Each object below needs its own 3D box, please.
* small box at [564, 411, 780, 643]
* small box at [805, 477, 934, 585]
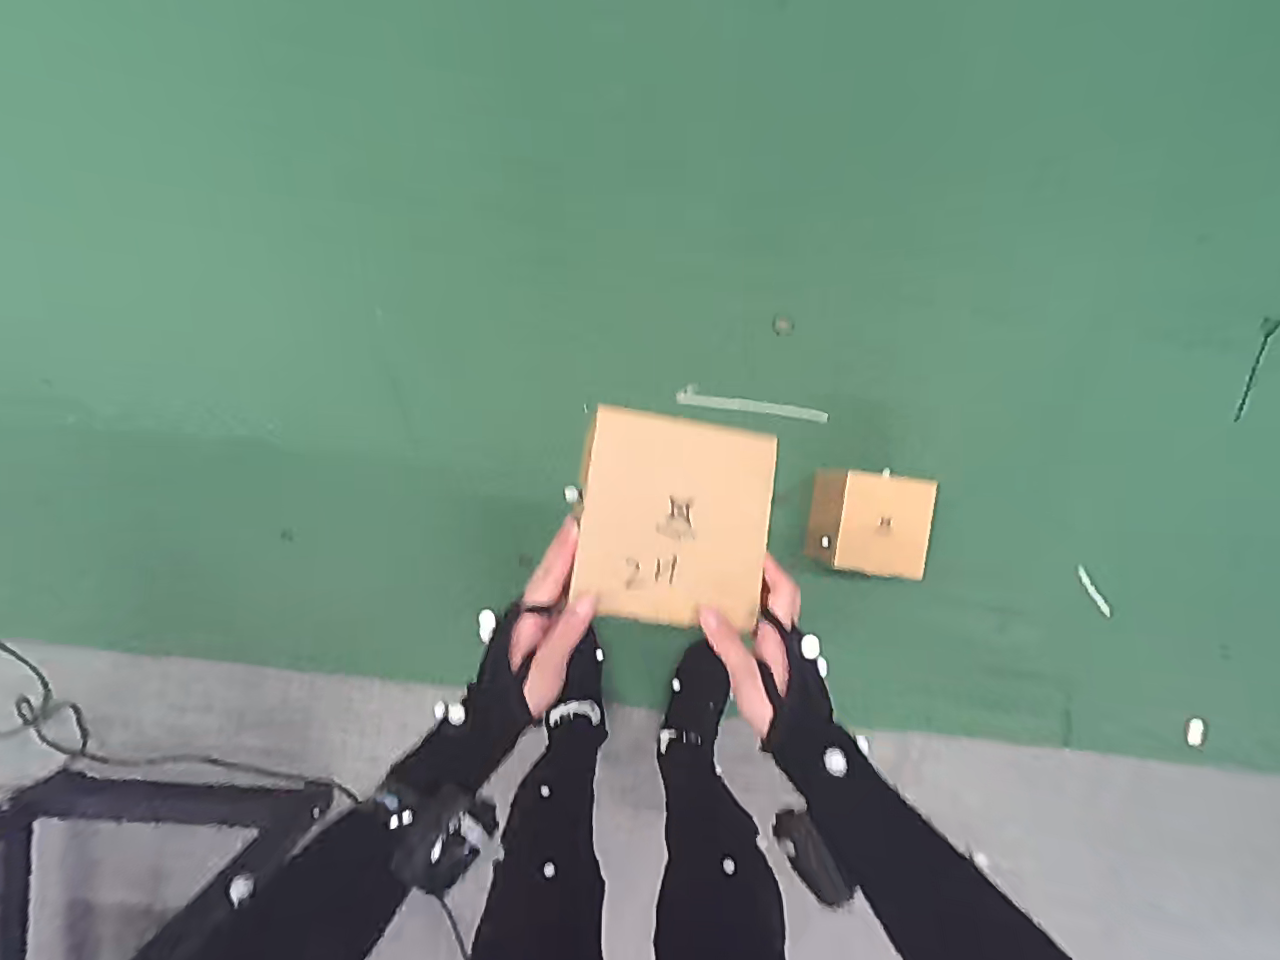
[{"bbox_3d":[0.019,0.047,0.536,0.168,0.176,0.179,10,84,-8],"label":"small box"},{"bbox_3d":[0.435,0.090,1.049,0.168,0.176,0.179,8,91,-1],"label":"small box"}]
